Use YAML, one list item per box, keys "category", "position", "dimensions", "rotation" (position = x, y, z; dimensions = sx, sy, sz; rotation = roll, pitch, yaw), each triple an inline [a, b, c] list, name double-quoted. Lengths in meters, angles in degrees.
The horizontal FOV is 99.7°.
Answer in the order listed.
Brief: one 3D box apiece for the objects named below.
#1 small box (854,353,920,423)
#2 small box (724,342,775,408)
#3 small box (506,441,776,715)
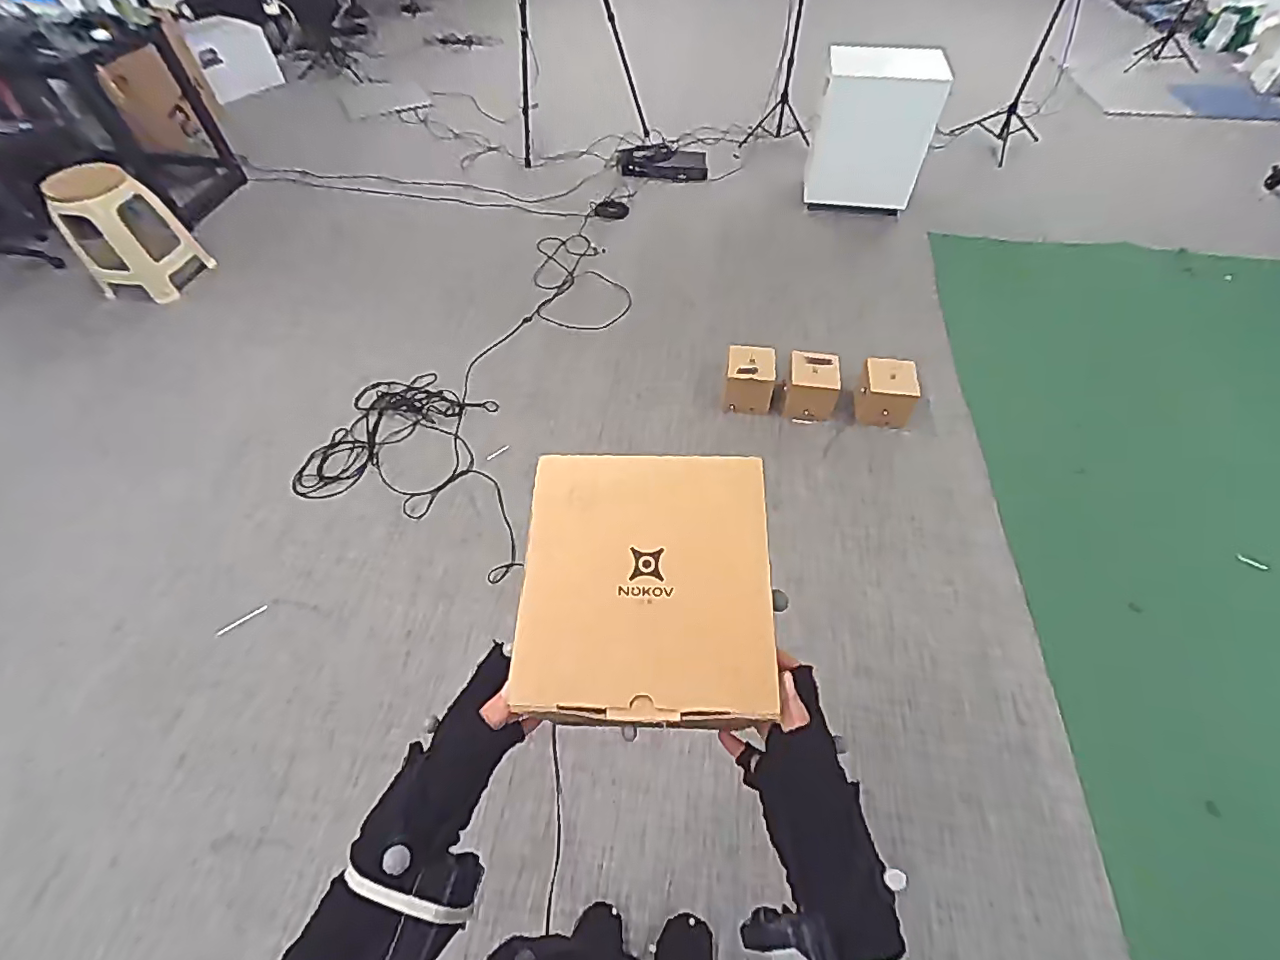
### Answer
- category: "small box"
  position: [0.872, -0.325, 1.923]
  dimensions: [0.168, 0.176, 0.179]
  rotation: [7, 54, 6]
- category: "small box"
  position: [0.397, -0.380, 1.973]
  dimensions: [0.168, 0.176, 0.179]
  rotation: [6, 53, 6]
- category: "small box"
  position: [0.005, 0.086, 0.430]
  dimensions: [0.168, 0.176, 0.179]
  rotation: [0, 64, 3]
